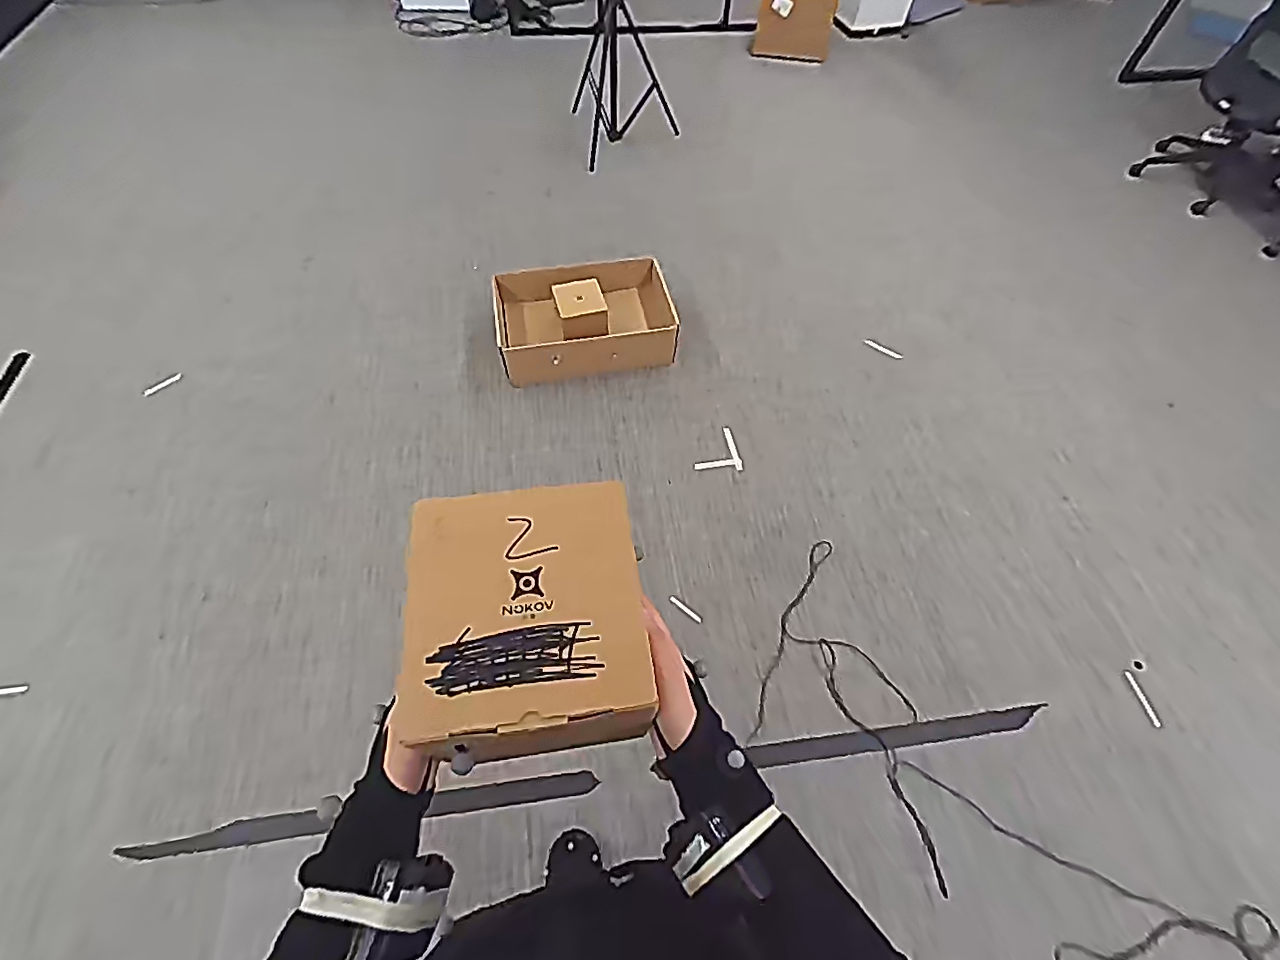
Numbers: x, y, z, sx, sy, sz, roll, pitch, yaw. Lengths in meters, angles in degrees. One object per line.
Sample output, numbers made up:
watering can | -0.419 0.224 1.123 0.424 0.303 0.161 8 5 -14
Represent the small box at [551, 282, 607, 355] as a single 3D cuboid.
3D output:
small box | -0.218 -0.581 1.950 0.168 0.176 0.179 -15 60 -10
